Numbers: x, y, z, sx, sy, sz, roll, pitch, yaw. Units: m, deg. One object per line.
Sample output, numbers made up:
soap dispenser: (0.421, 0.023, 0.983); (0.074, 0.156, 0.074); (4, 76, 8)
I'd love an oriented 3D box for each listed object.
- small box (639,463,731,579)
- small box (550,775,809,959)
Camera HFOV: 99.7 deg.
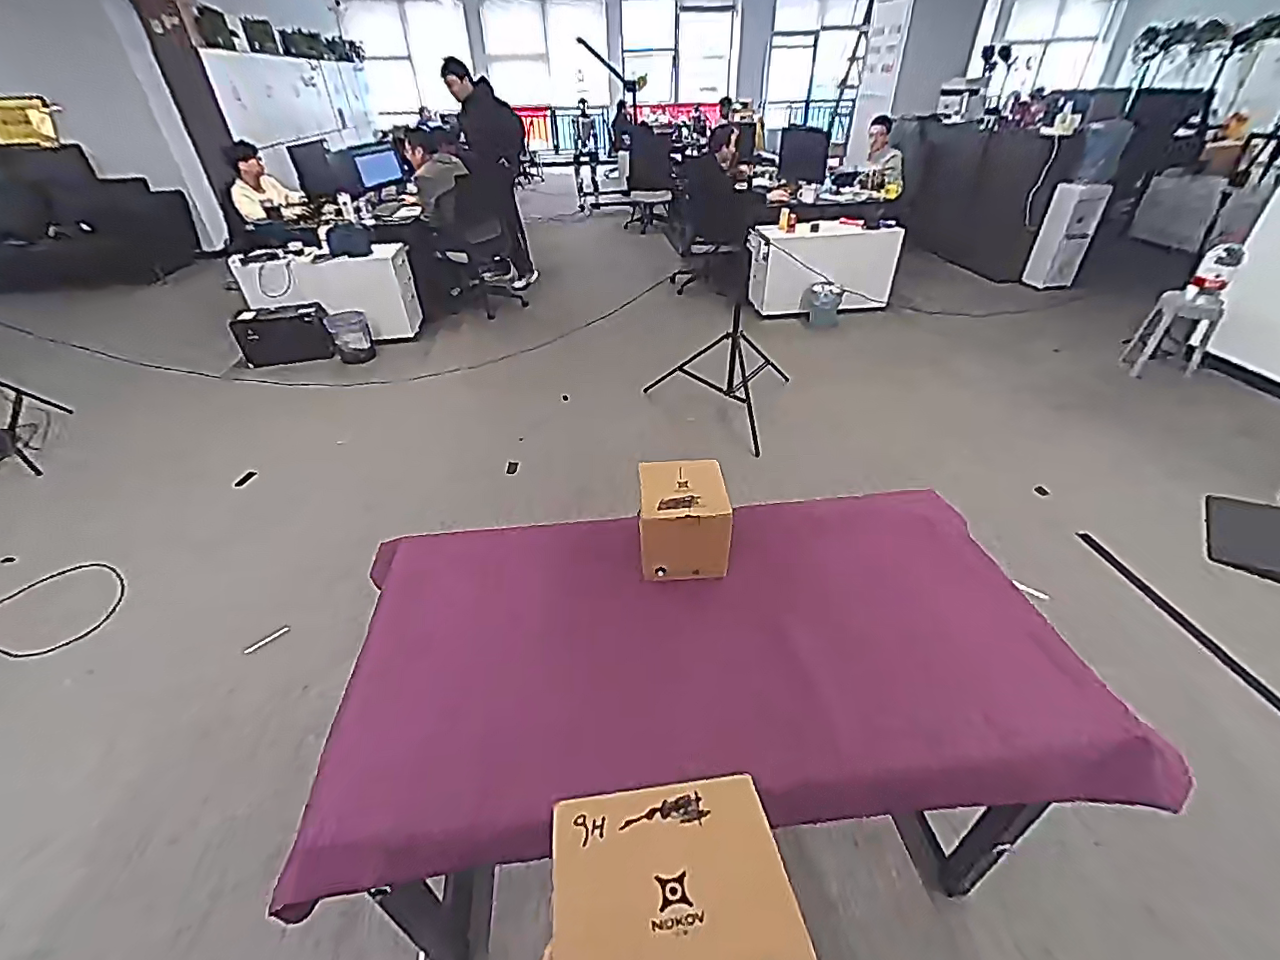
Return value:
small box: (0.085, 0.087, 1.089); (0.168, 0.176, 0.179); (-2, 37, -2)
small box: (0.024, 0.363, 0.403); (0.168, 0.176, 0.179); (-5, 26, -7)
